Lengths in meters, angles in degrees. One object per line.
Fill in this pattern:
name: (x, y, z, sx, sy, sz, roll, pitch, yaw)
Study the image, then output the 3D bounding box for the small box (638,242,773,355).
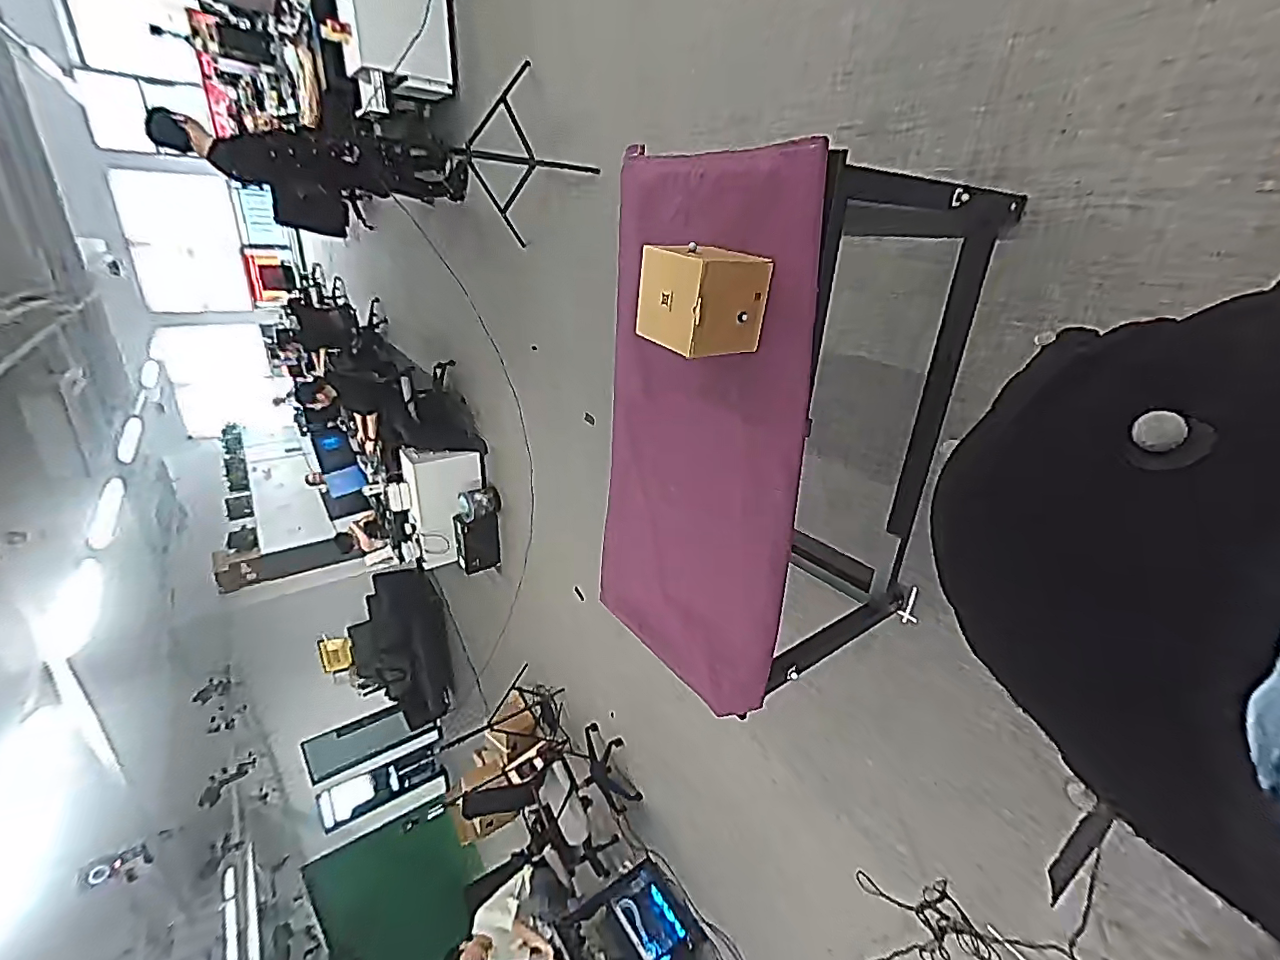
small box: (0.118, -0.343, 1.014, 0.179, 0.176, 0.168, 38, 132, 44)
